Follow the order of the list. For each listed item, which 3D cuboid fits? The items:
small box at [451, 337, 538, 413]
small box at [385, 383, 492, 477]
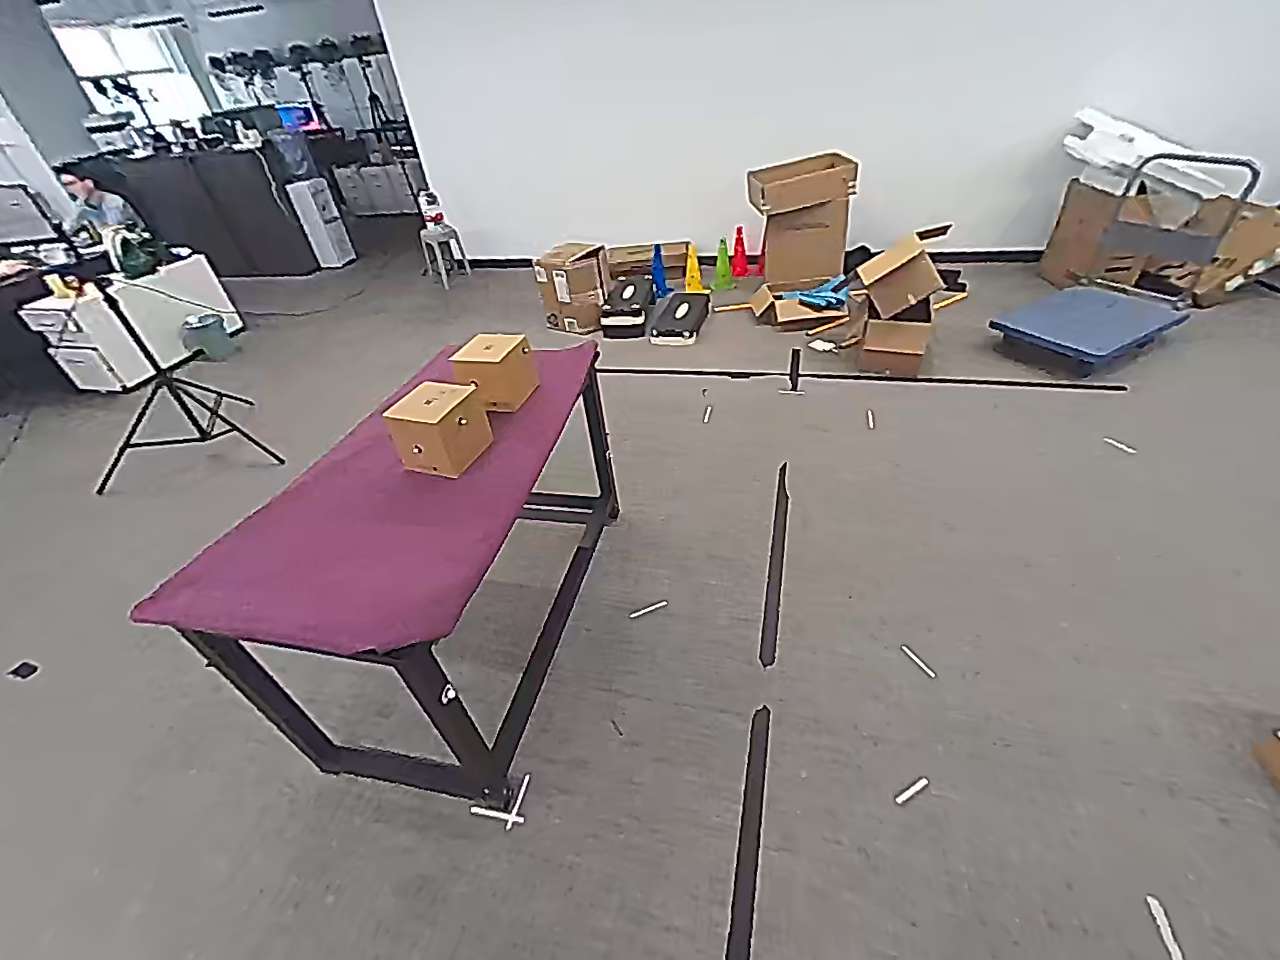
[{"bbox_3d":[-0.423,-0.313,1.611,0.168,0.176,0.179,6,40,17],"label":"small box"},{"bbox_3d":[-0.506,-0.128,1.390,0.168,0.176,0.179,10,41,19],"label":"small box"}]
